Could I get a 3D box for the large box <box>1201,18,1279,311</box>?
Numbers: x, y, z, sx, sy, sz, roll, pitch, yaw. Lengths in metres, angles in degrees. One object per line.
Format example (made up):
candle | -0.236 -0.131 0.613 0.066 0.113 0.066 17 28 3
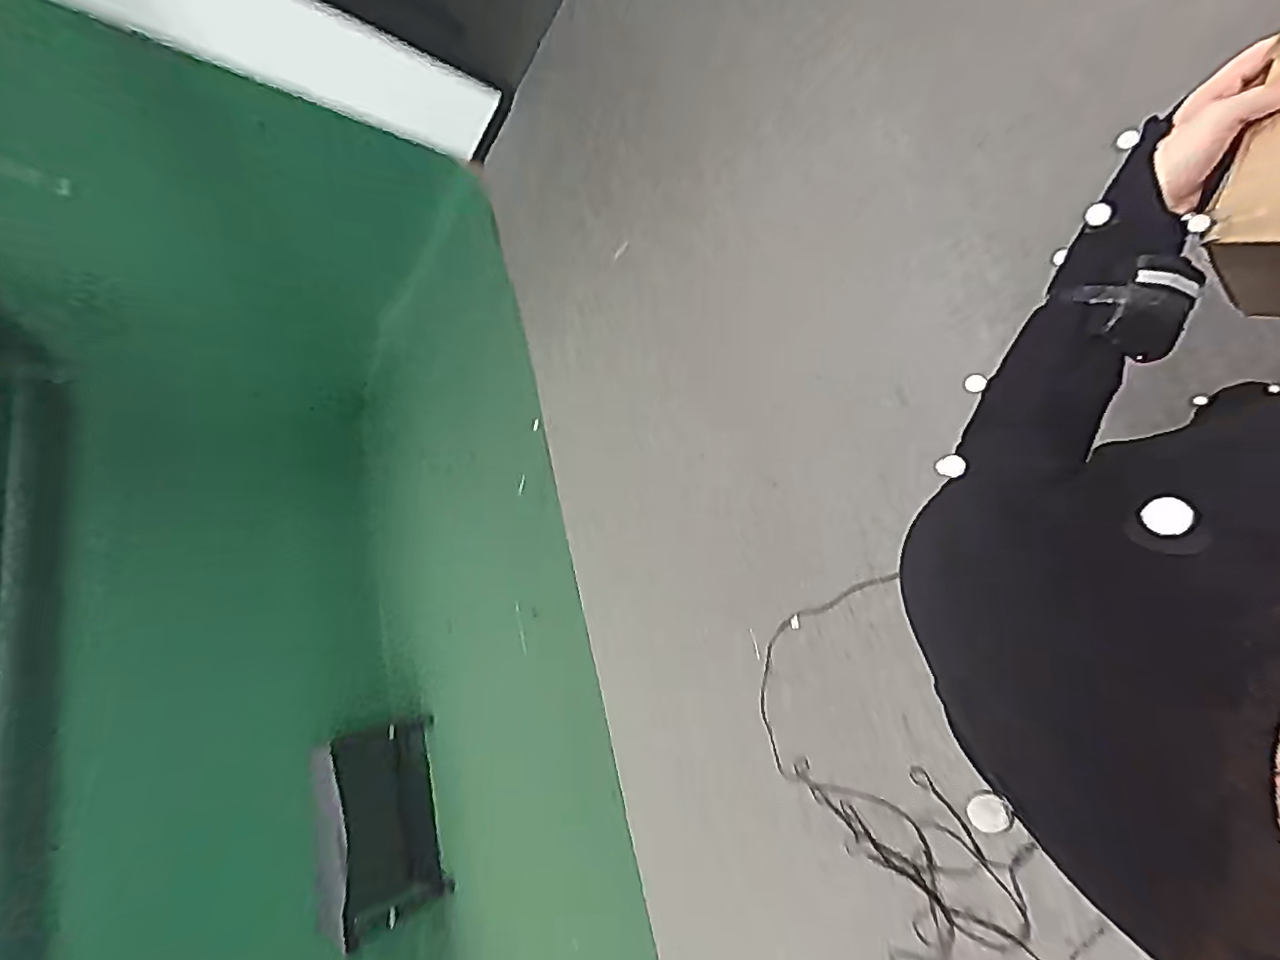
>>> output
large box | 0.686 -0.275 0.318 0.408 0.320 0.320 25 110 50
